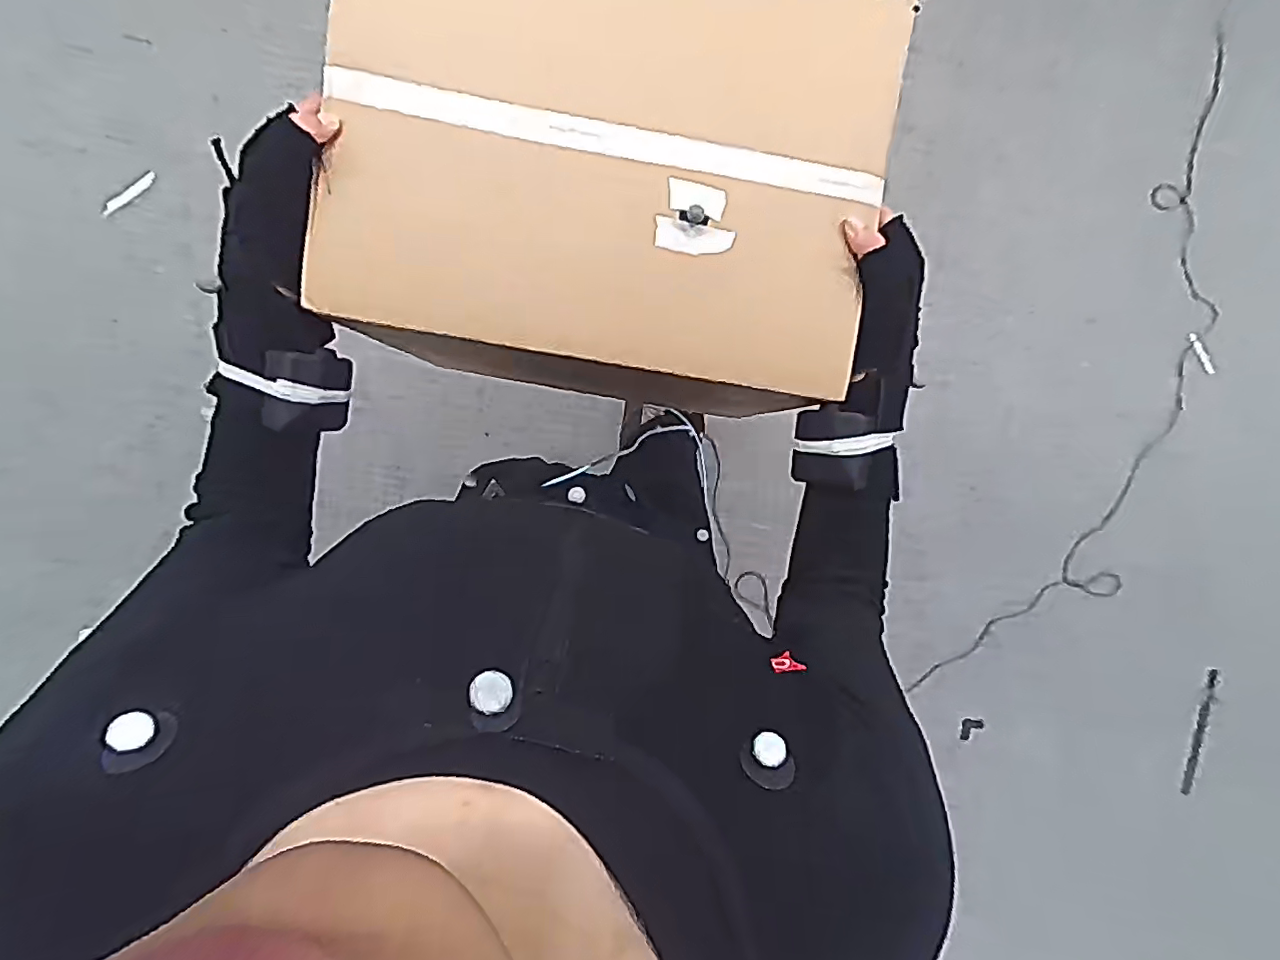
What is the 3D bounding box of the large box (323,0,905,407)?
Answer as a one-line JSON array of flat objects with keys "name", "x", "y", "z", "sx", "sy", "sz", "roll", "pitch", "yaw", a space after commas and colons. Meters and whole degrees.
[{"name": "large box", "x": -0.029, "y": -0.261, "z": 0.548, "sx": 0.408, "sy": 0.320, "sz": 0.320, "roll": 9, "pitch": 95, "yaw": -5}]
